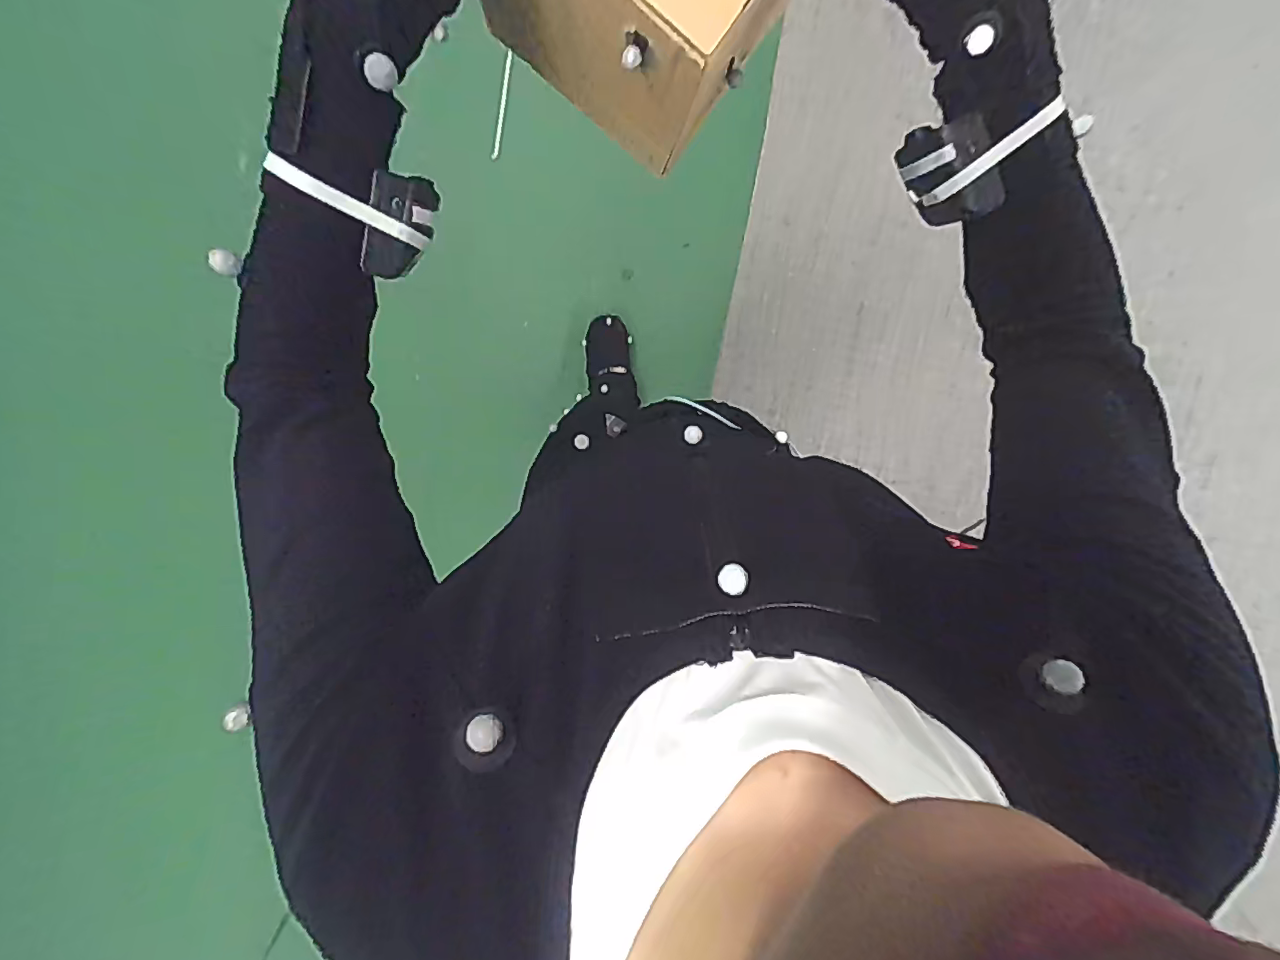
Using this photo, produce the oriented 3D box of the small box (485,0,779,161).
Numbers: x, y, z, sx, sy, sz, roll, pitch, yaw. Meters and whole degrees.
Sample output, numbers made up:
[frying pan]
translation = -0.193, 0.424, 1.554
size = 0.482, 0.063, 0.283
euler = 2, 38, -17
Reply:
[small box]
translation = 0.002, -0.358, 0.355
size = 0.179, 0.176, 0.168
euler = 36, 93, -12
